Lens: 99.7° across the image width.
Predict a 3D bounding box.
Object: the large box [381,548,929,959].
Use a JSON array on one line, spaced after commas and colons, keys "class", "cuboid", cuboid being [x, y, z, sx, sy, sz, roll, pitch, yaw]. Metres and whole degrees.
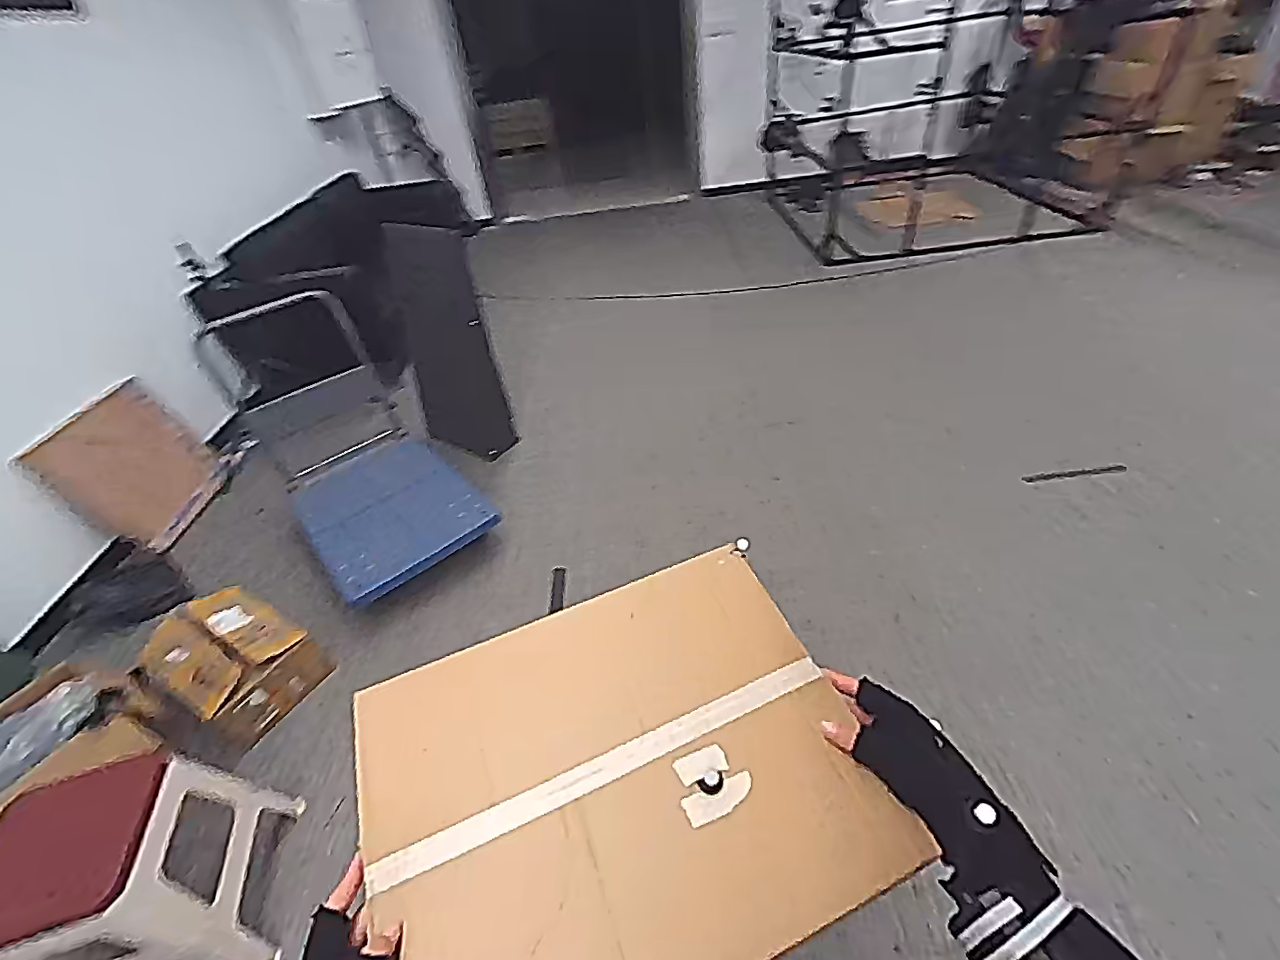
[{"class": "large box", "cuboid": [-0.004, 0.341, 0.579, 0.408, 0.320, 0.320, -19, 50, -13]}]
